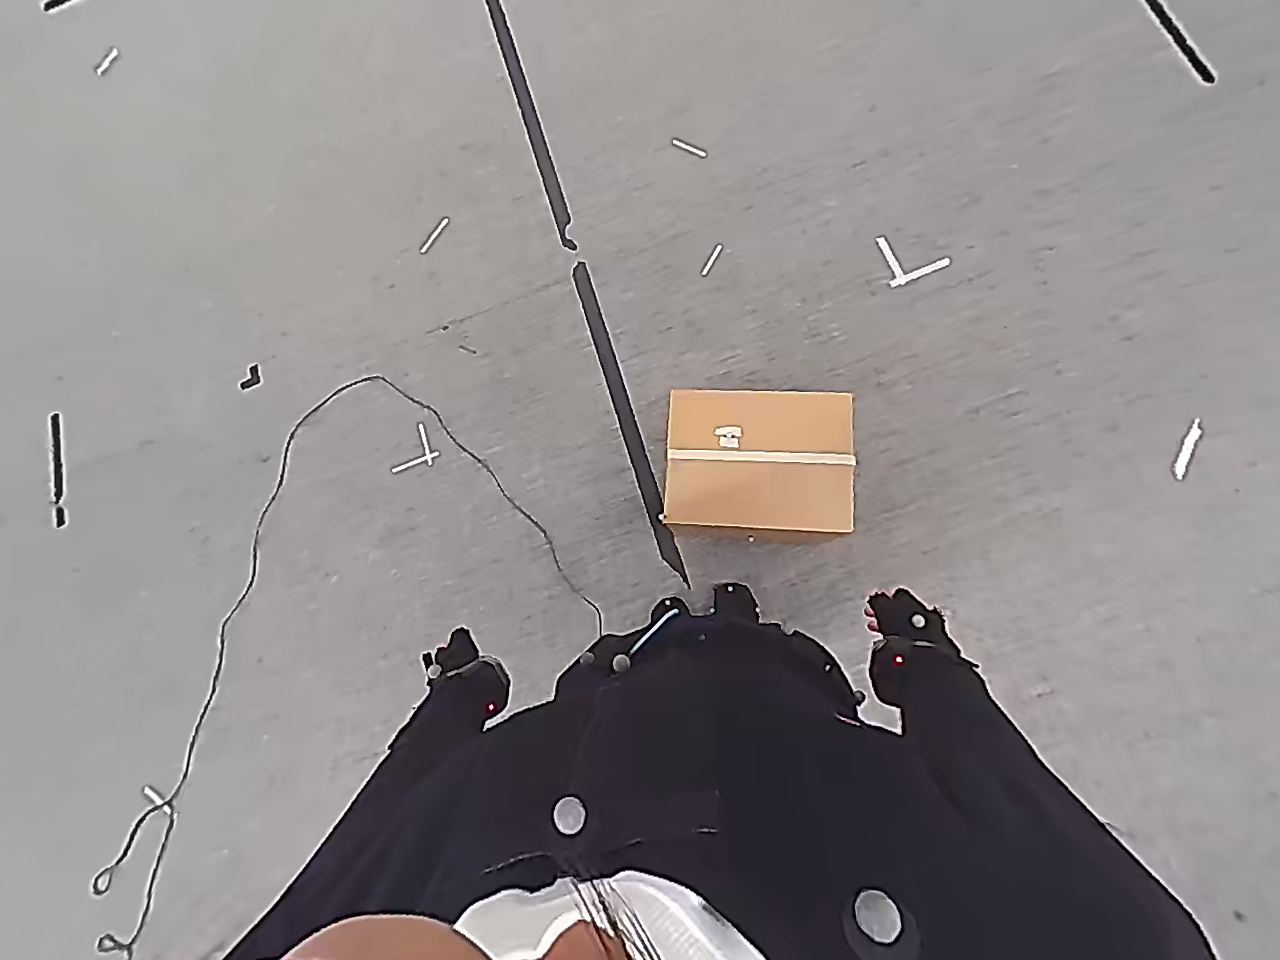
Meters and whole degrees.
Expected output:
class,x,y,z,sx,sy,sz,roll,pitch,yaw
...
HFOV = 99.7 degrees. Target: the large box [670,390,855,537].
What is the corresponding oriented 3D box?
class,x,y,z,sx,sy,sz,roll,pitch,yaw
large box,0.296,-0.026,1.350,0.408,0.320,0.320,2,79,10
